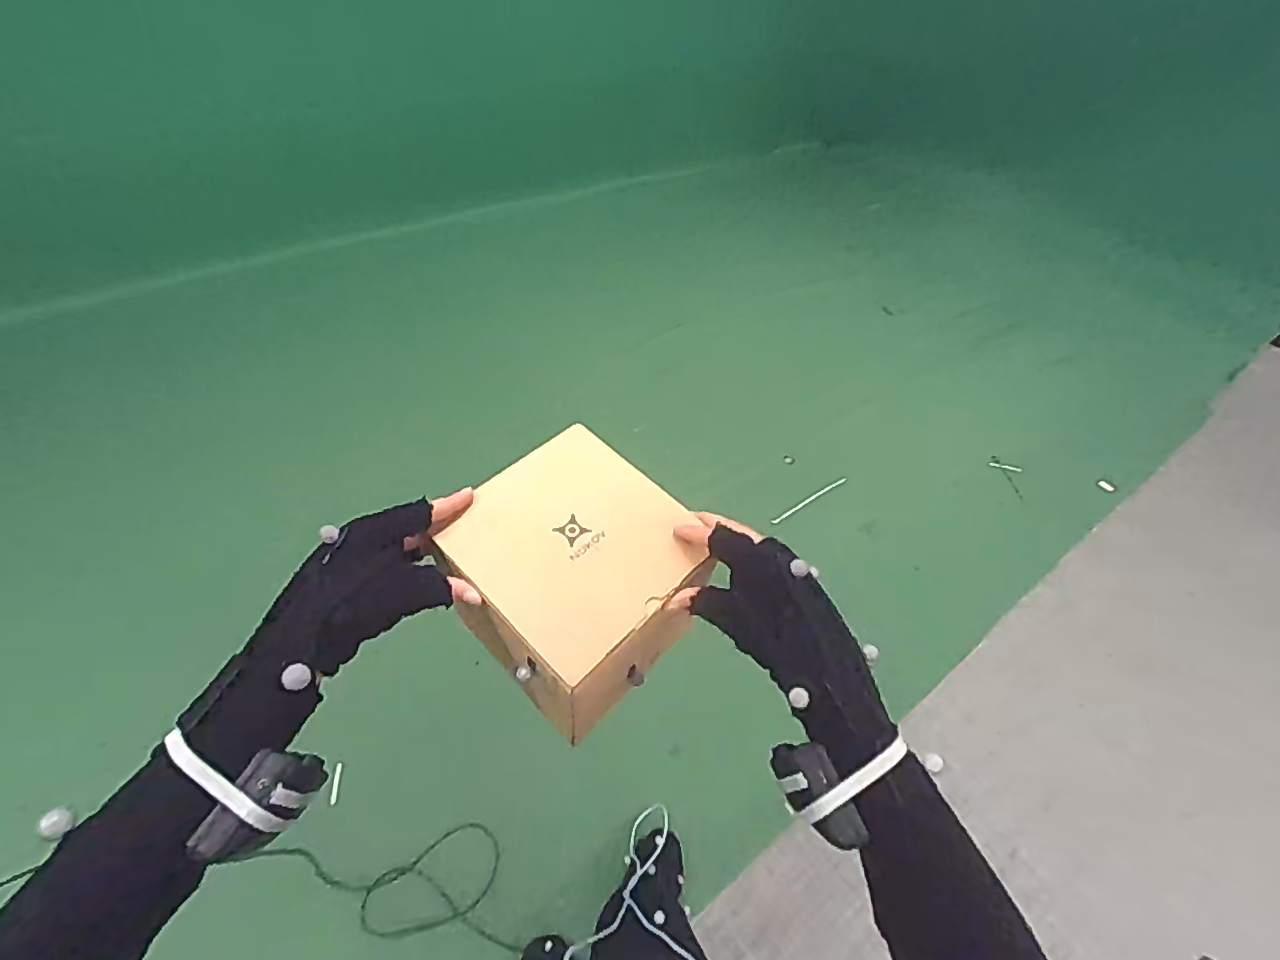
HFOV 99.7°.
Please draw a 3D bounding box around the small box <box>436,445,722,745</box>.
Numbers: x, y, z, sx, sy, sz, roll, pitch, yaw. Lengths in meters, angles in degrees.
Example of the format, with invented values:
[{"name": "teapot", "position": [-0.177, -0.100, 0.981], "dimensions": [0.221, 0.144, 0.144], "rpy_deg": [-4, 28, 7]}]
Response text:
[{"name": "small box", "position": [-0.057, 0.107, 0.497], "dimensions": [0.179, 0.176, 0.168], "rpy_deg": [40, 57, 22]}]
